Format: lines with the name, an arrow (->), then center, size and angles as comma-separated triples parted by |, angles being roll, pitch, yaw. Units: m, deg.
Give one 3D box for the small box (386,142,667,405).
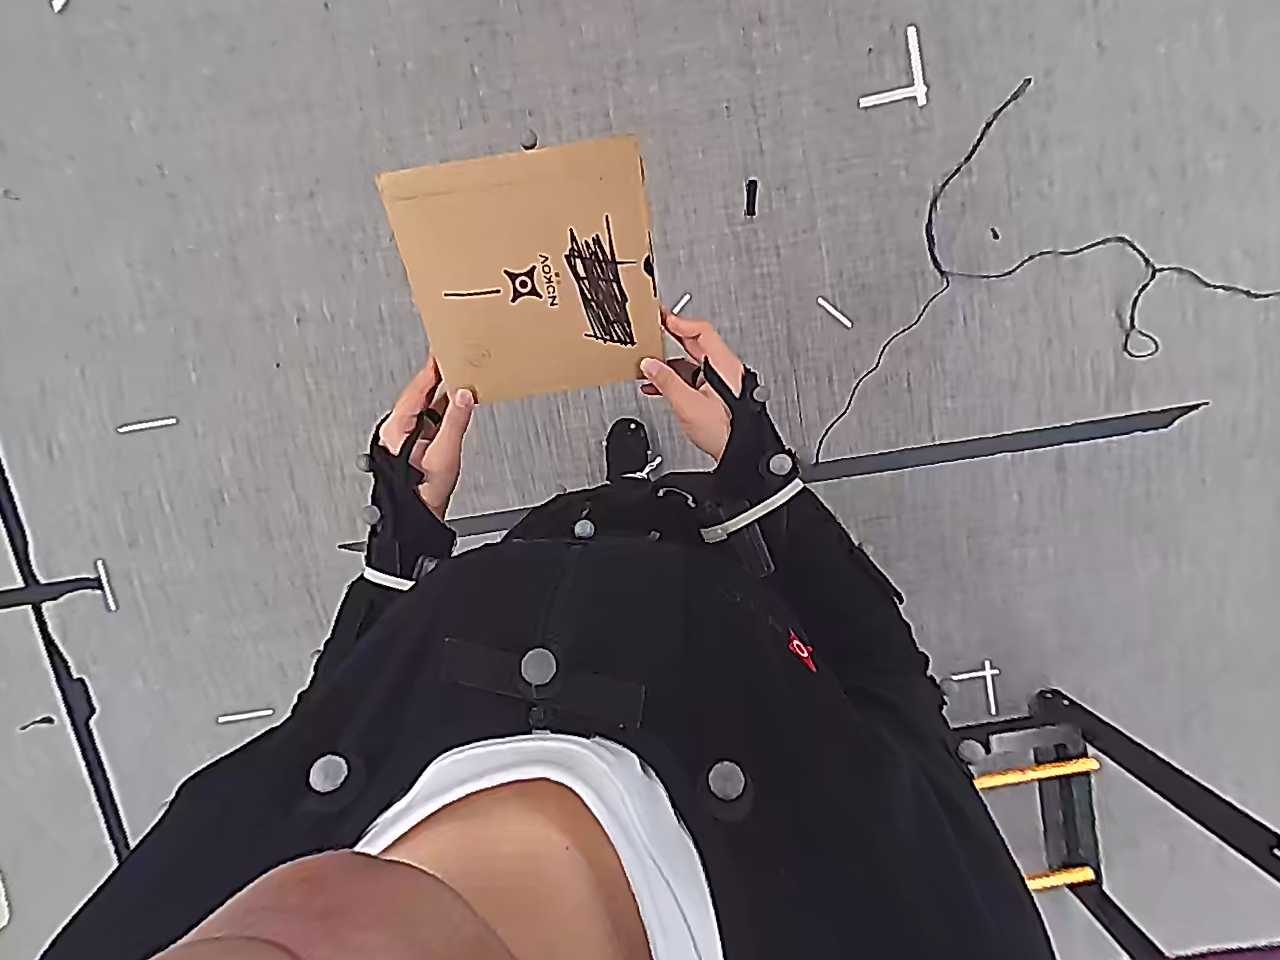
small box -> -0.081, -0.181, 0.466 | 0.179, 0.176, 0.168 | -9, 119, 1
